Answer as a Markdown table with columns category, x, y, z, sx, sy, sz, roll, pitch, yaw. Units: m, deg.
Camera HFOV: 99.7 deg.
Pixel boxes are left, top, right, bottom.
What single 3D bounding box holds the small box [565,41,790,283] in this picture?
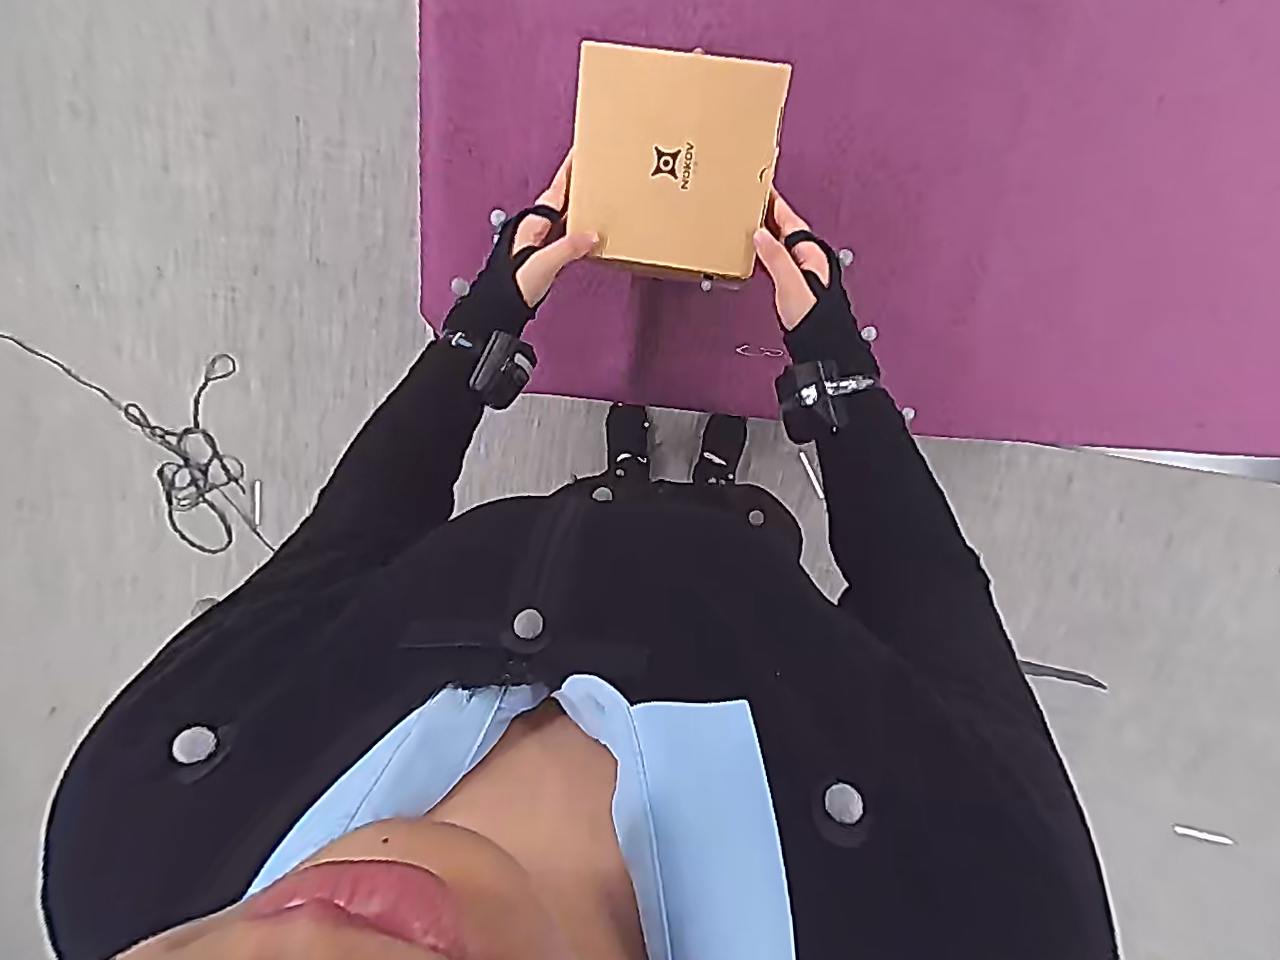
| category | x | y | z | sx | sy | sz | roll | pitch | yaw |
| --- | --- | --- | --- | --- | --- | --- | --- | --- | --- |
| small box | 0.034 | -0.298 | 0.544 | 0.179 | 0.176 | 0.168 | 8 | 107 | 2 |
